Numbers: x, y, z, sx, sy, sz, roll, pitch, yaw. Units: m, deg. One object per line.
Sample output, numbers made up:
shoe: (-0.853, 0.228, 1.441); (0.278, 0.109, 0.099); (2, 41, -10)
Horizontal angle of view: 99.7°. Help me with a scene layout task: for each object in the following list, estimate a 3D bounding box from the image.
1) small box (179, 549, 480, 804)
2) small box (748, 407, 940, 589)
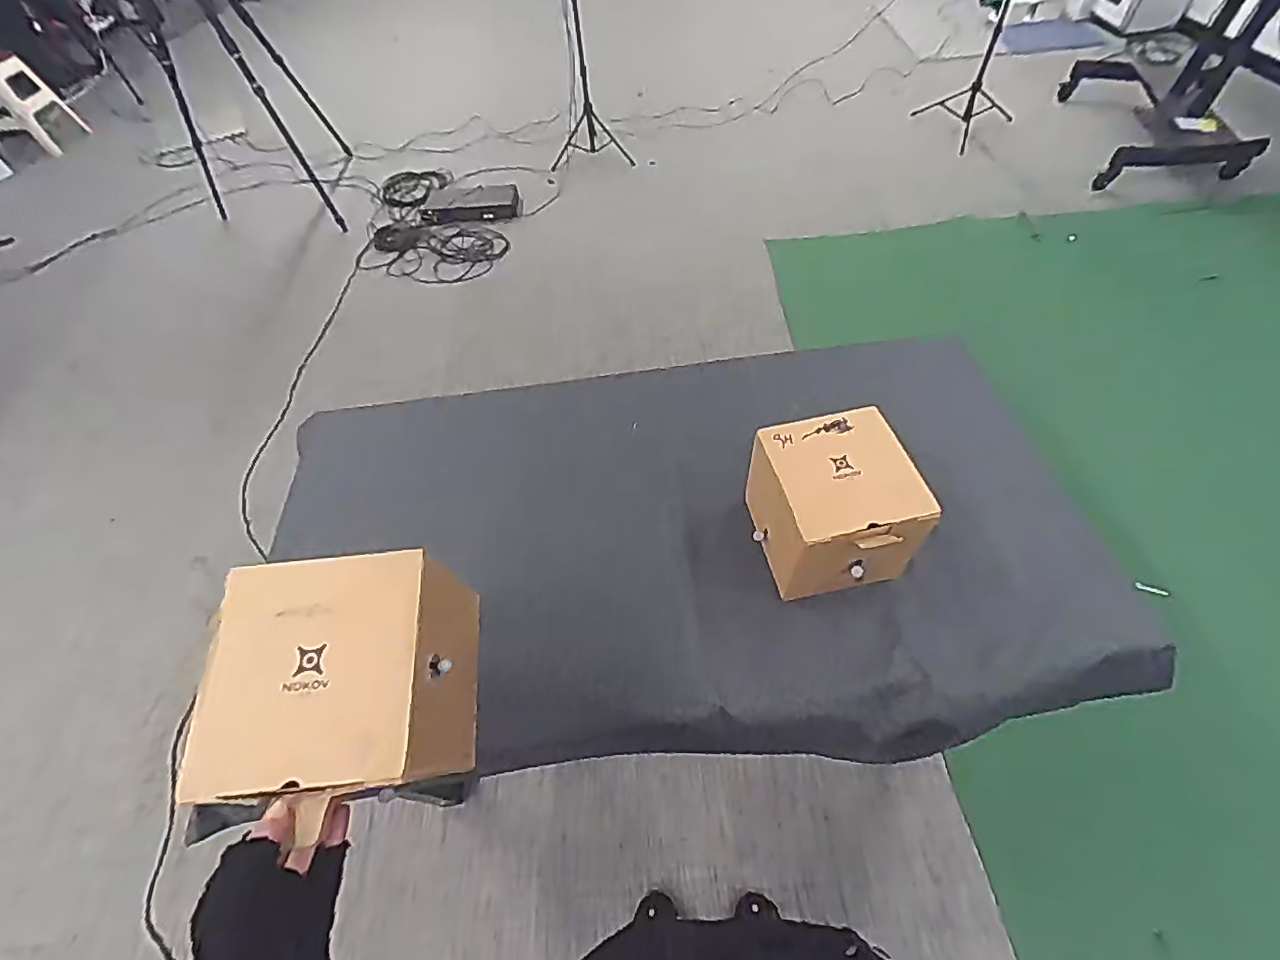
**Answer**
small box: (-0.250, 0.176, 0.488); (0.168, 0.176, 0.179); (-5, 64, -2)
small box: (0.253, 0.032, 0.722); (0.168, 0.176, 0.179); (-10, 56, -4)
